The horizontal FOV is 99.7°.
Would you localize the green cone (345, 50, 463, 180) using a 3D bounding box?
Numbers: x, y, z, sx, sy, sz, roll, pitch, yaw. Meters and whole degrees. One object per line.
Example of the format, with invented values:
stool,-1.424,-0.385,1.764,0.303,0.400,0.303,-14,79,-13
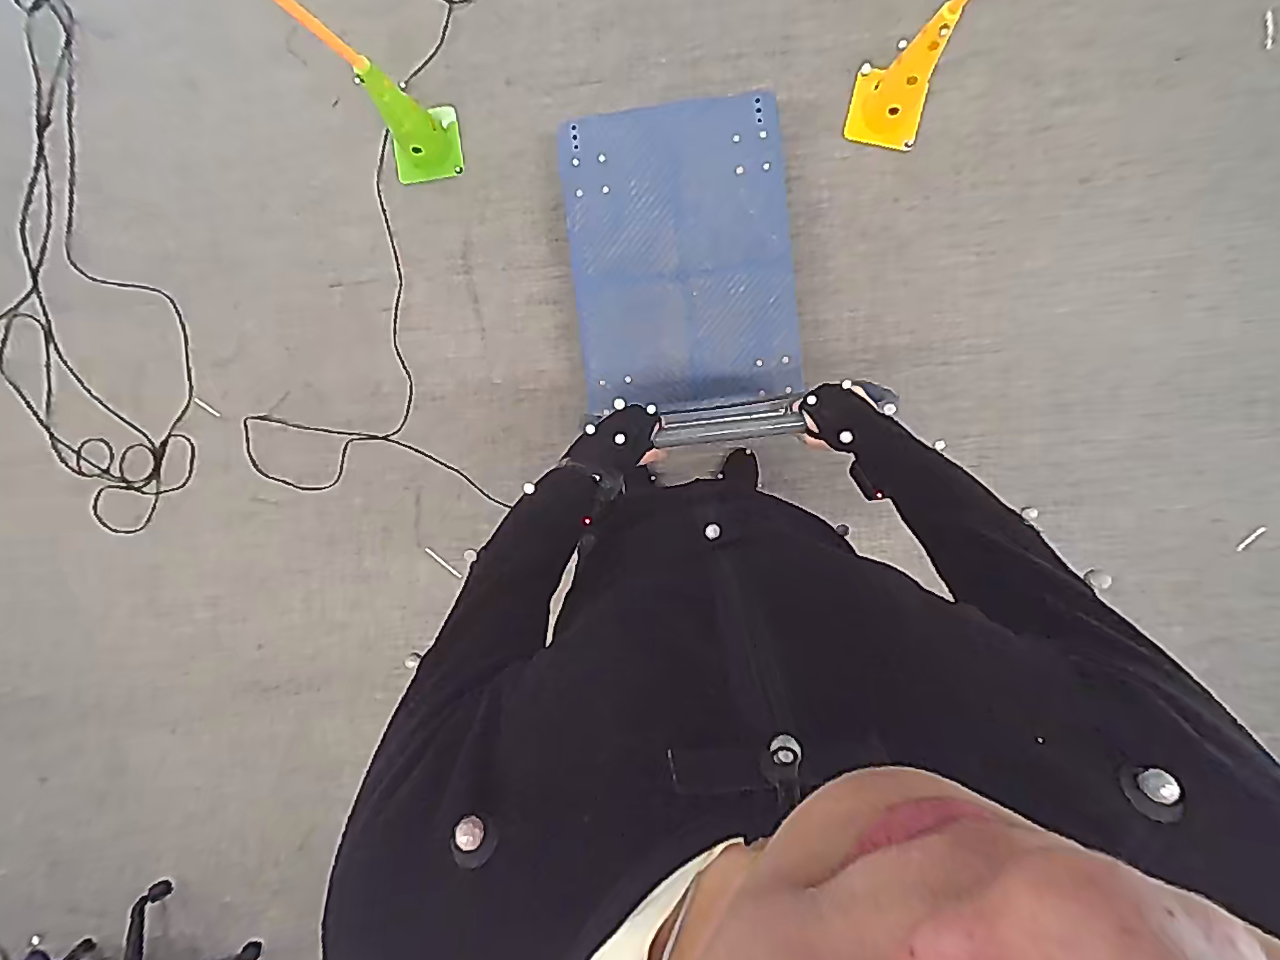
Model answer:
green cone,-0.639,-0.984,1.414,0.202,0.368,0.200,-8,94,5
